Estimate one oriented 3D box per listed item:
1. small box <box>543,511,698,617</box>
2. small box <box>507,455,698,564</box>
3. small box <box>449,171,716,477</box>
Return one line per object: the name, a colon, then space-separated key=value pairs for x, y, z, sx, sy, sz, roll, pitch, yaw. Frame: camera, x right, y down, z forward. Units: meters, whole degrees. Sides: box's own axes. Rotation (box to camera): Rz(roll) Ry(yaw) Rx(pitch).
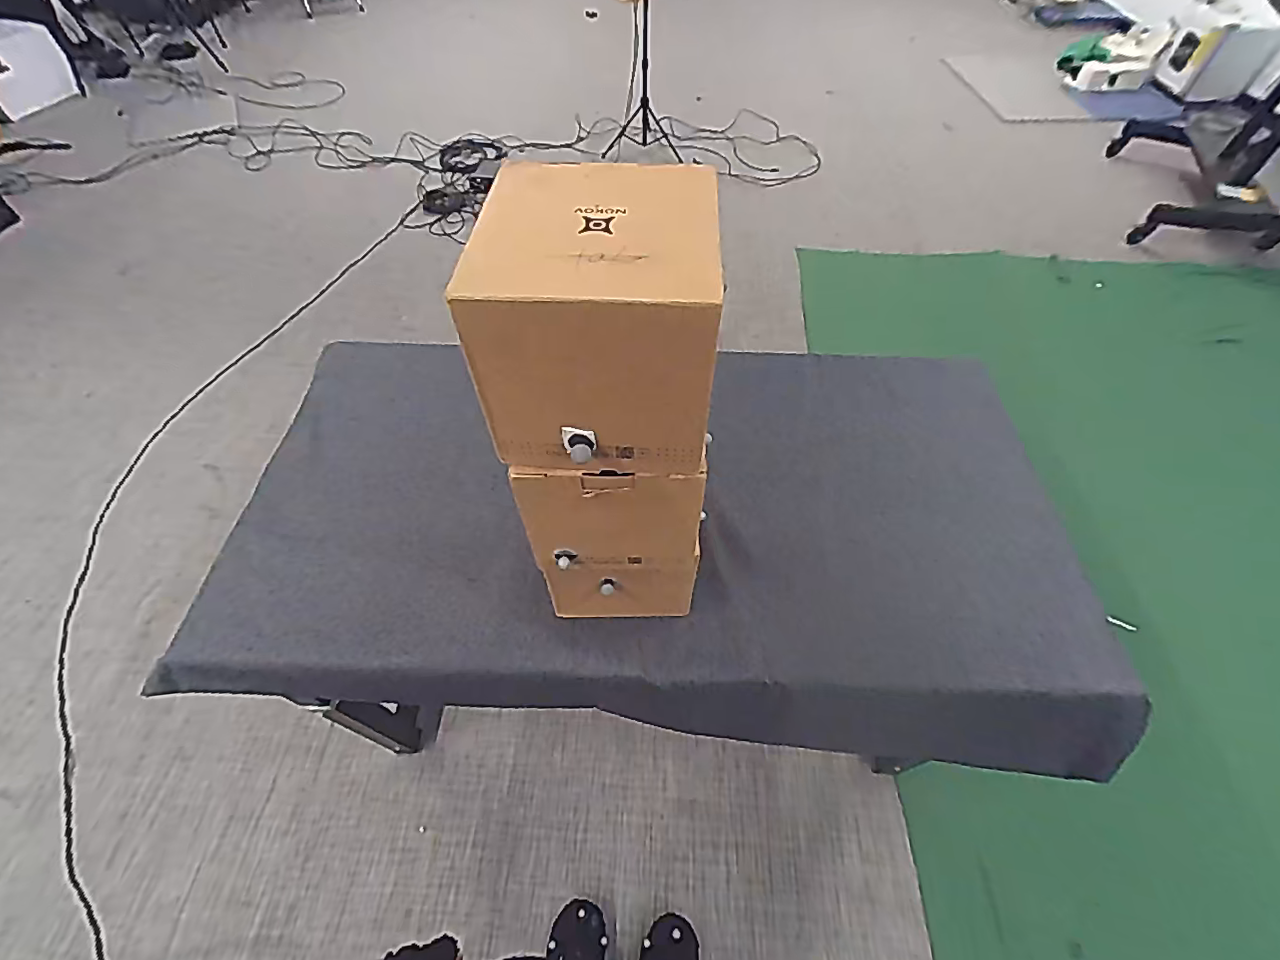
small box: x=-0.025 y=0.068 z=0.705 sx=0.179 sy=0.176 sz=0.168 roll=-3 pitch=52 yaw=-3
small box: x=-0.030 y=-0.023 z=0.564 sx=0.168 sy=0.176 sz=0.179 roll=0 pitch=52 yaw=0
small box: x=-0.031 y=-0.123 z=0.437 sx=0.168 sy=0.176 sz=0.179 roll=1 pitch=54 yaw=2
